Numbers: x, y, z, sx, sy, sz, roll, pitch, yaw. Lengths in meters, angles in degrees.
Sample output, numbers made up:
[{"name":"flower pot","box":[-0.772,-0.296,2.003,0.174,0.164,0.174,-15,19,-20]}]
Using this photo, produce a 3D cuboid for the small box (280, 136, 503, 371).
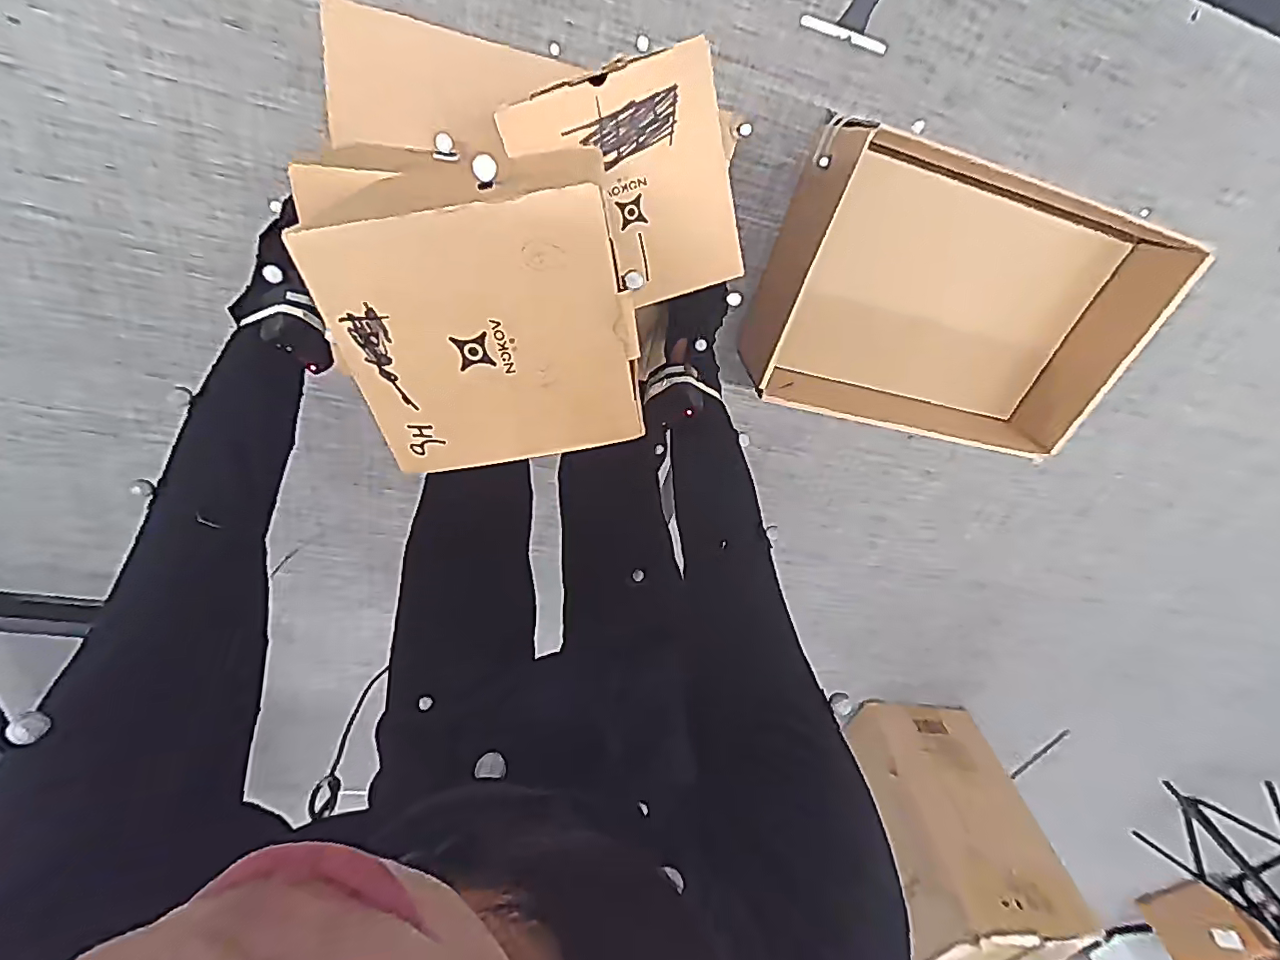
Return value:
[{"name":"small box","box":[-0.202,-0.216,0.521,0.168,0.176,0.179,-1,125,-9]}]

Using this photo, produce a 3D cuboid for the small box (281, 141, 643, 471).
[{"name":"small box","box":[-0.100,-0.131,0.390,0.179,0.176,0.168,-9,127,1]}]

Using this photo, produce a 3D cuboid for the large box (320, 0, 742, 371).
[{"name":"large box","box":[-0.136,-0.374,0.714,0.408,0.320,0.320,7,126,-12]}]
